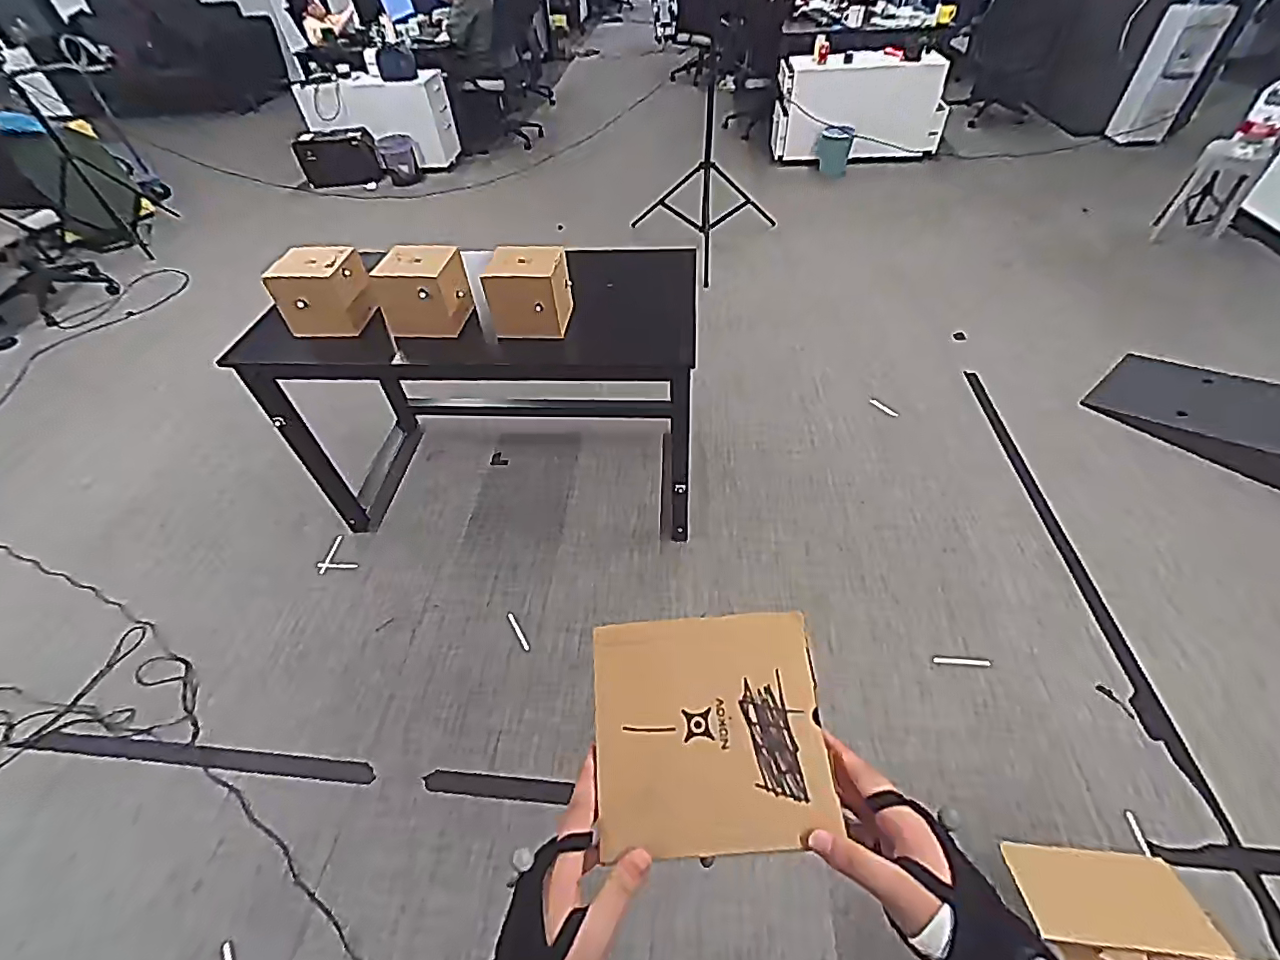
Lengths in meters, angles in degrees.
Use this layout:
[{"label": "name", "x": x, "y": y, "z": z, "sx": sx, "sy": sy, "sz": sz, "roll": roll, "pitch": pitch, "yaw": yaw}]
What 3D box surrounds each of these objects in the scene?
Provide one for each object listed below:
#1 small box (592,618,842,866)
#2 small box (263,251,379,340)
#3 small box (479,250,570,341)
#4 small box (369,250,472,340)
[{"label": "small box", "x": 0.054, "y": 0.227, "z": 0.483, "sx": 0.179, "sy": 0.176, "sz": 0.168, "roll": -5, "pitch": 62, "yaw": 1}, {"label": "small box", "x": -0.827, "y": -0.481, "z": 1.421, "sx": 0.179, "sy": 0.176, "sz": 0.168, "roll": -1, "pitch": 48, "yaw": 4}, {"label": "small box", "x": -0.282, "y": -0.466, "z": 1.374, "sx": 0.179, "sy": 0.176, "sz": 0.168, "roll": 1, "pitch": 46, "yaw": 6}, {"label": "small box", "x": -0.555, "y": -0.476, "z": 1.398, "sx": 0.179, "sy": 0.176, "sz": 0.168, "roll": 2, "pitch": 47, "yaw": 6}]
